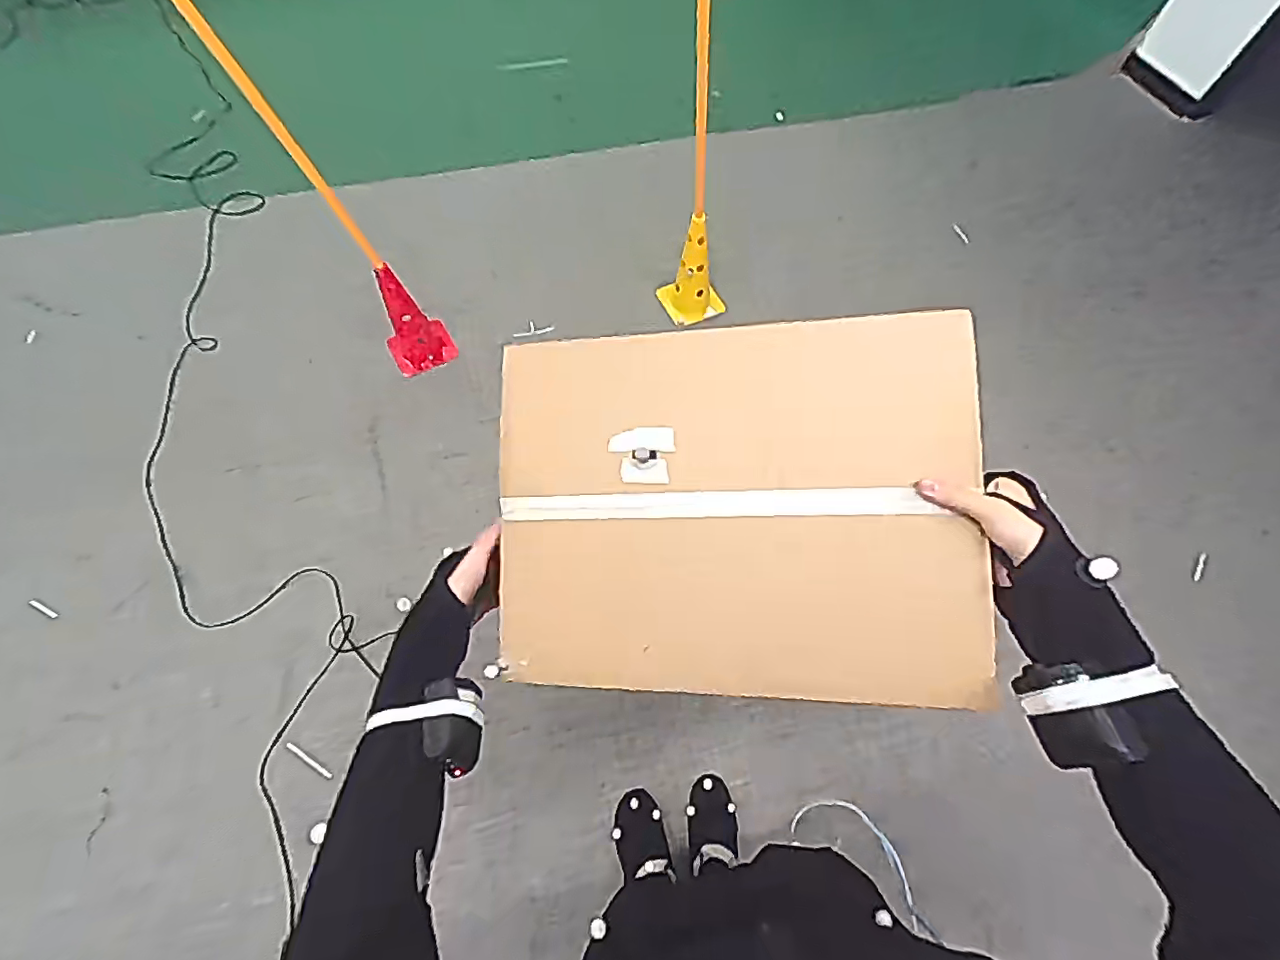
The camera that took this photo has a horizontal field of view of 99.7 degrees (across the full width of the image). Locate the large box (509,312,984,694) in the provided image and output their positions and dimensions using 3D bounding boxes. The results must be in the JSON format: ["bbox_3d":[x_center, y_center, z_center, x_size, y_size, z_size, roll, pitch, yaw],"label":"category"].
[{"bbox_3d":[0.104,0.034,0.618,0.408,0.320,0.320,-2,84,13],"label":"large box"}]
